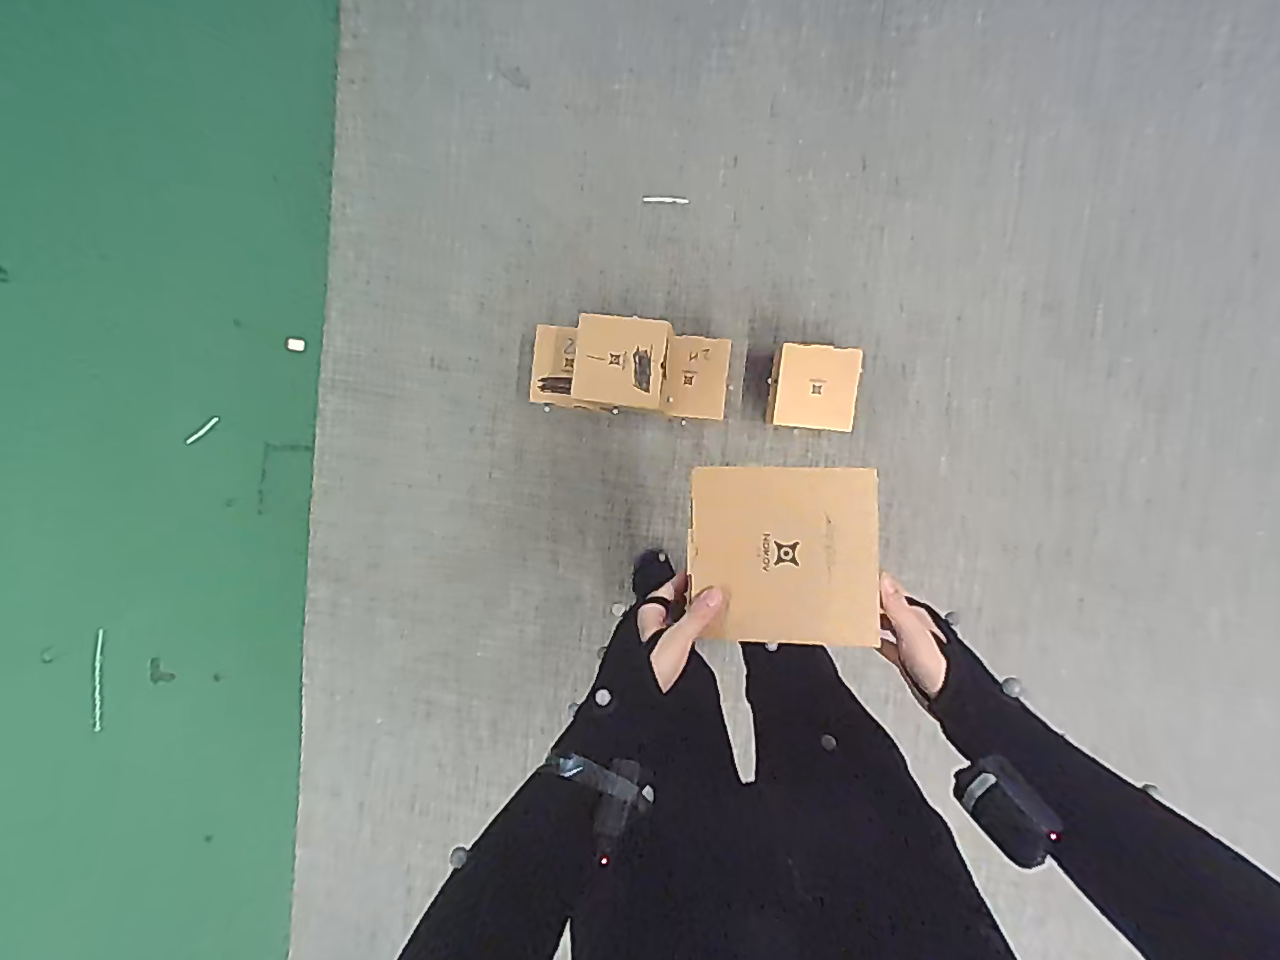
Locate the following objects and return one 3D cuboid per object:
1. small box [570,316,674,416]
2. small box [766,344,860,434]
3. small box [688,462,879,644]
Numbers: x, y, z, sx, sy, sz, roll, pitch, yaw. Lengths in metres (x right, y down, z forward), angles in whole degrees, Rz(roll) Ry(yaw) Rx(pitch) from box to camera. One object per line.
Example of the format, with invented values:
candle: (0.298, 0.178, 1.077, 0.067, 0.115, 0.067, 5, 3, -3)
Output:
small box: (-0.029, -0.224, 1.099, 0.179, 0.176, 0.168, 8, 94, 7)
small box: (0.381, -0.197, 1.218, 0.168, 0.176, 0.179, 6, 94, 7)
small box: (0.144, 0.075, 0.590, 0.179, 0.176, 0.168, 2, 85, 6)
